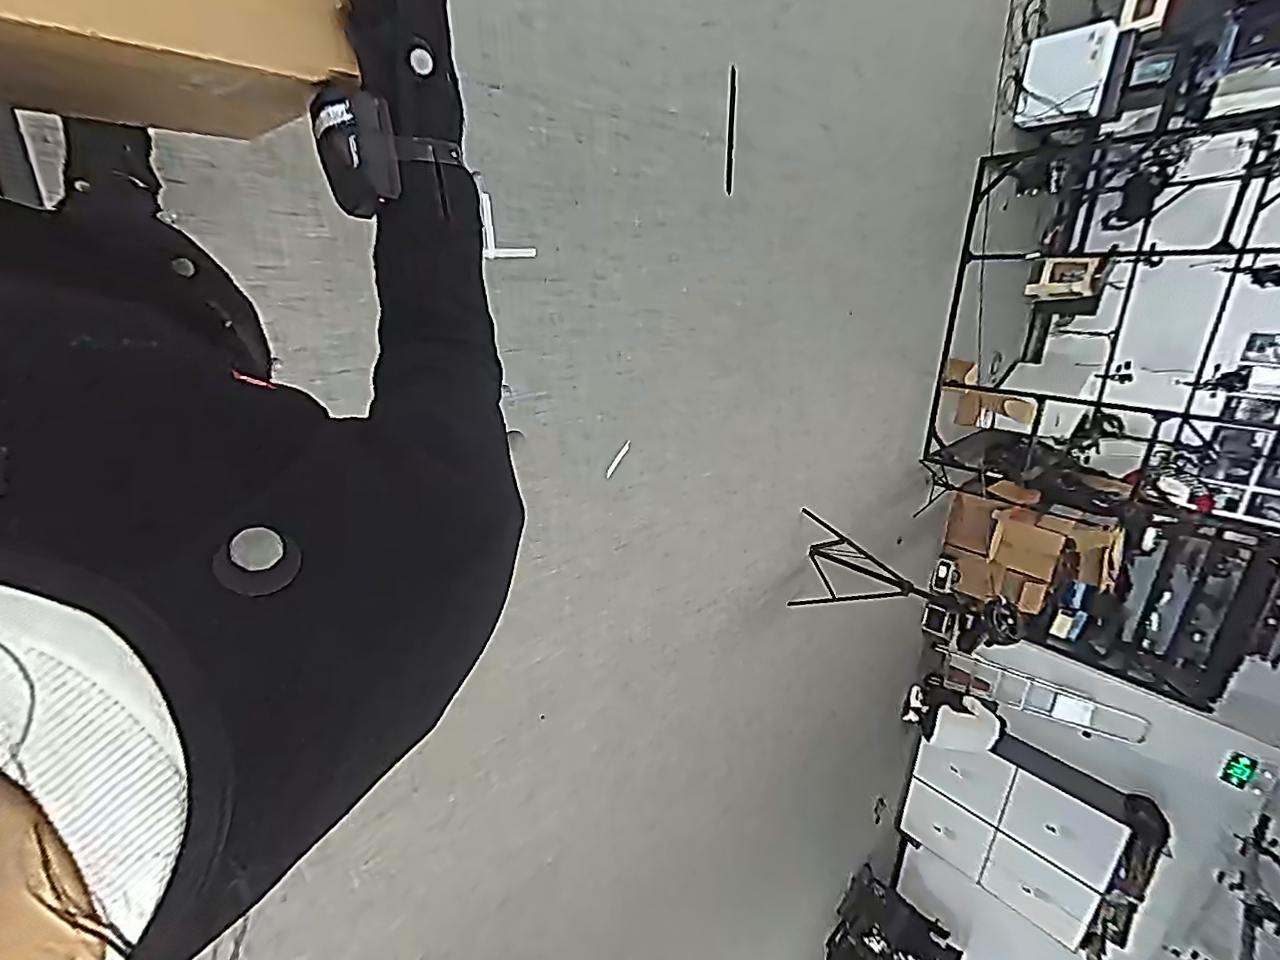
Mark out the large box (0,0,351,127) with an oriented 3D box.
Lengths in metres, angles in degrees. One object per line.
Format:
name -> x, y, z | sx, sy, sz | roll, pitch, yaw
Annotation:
large box -> -0.428, -0.391, 0.256 | 0.408, 0.320, 0.320 | -20, 123, -41
